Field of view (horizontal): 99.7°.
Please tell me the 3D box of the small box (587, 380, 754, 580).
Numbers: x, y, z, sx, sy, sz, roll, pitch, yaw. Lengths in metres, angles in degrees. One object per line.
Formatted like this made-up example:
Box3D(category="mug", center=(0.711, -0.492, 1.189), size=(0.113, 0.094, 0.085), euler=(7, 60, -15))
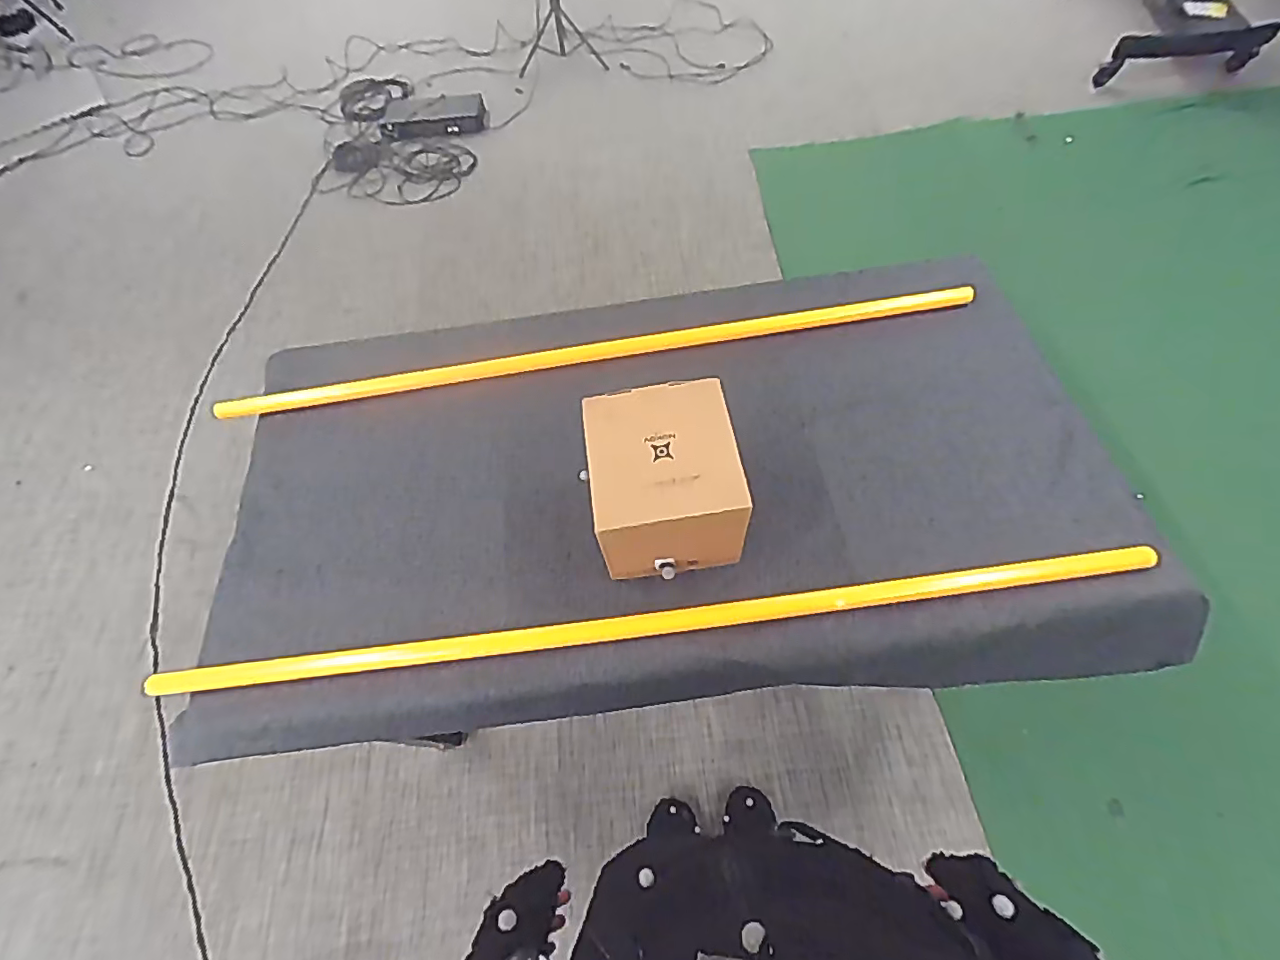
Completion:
Box3D(category="small box", center=(0.033, 0.006, 0.670), size=(0.168, 0.176, 0.179), euler=(-10, 62, 1))
